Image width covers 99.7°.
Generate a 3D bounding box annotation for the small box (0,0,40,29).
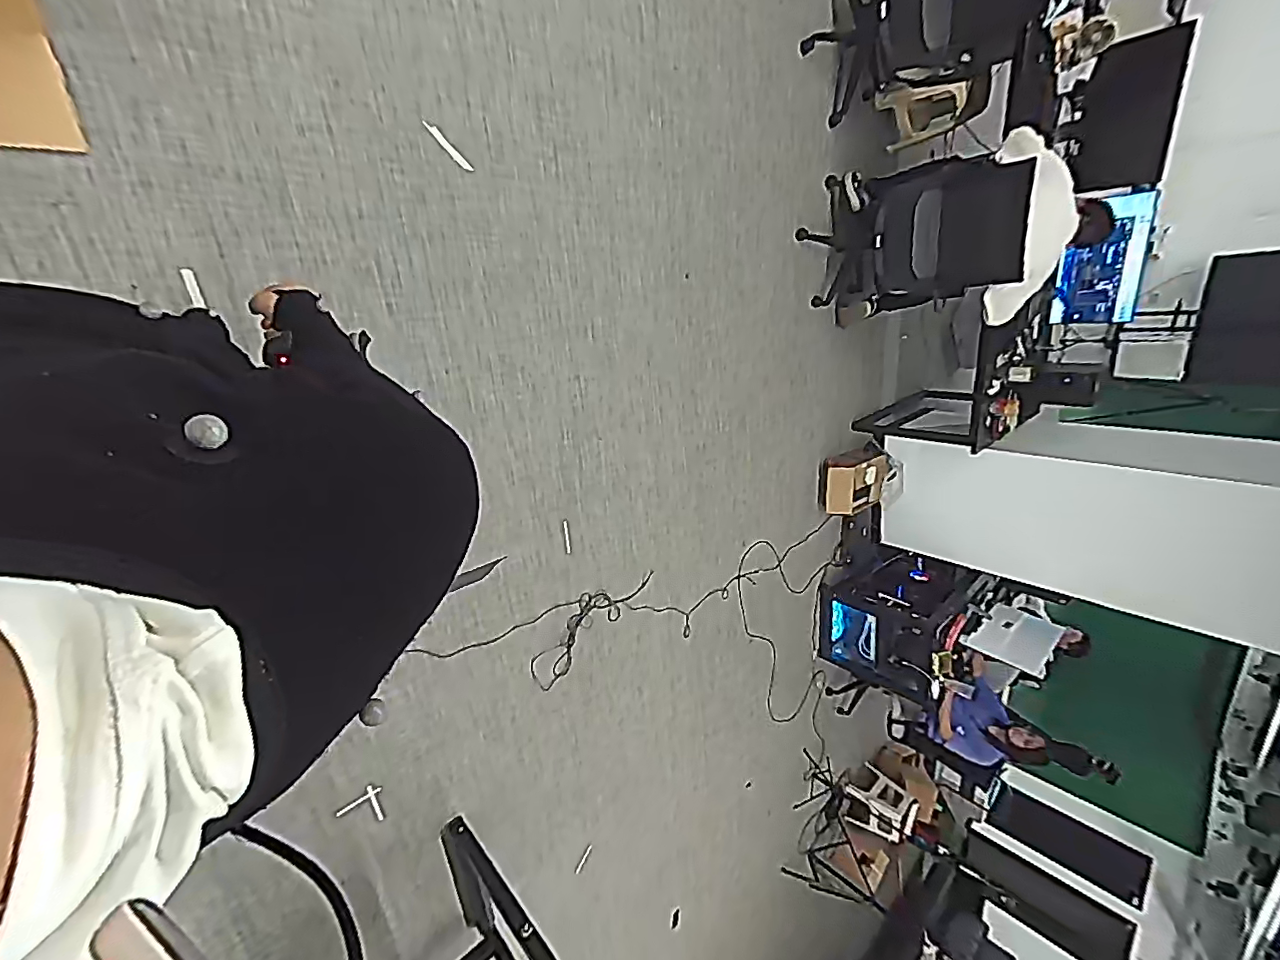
[{"bbox_3d":[-1.144,-0.866,0.876,0.179,0.176,0.168,-31,120,-34],"label":"small box"}]
